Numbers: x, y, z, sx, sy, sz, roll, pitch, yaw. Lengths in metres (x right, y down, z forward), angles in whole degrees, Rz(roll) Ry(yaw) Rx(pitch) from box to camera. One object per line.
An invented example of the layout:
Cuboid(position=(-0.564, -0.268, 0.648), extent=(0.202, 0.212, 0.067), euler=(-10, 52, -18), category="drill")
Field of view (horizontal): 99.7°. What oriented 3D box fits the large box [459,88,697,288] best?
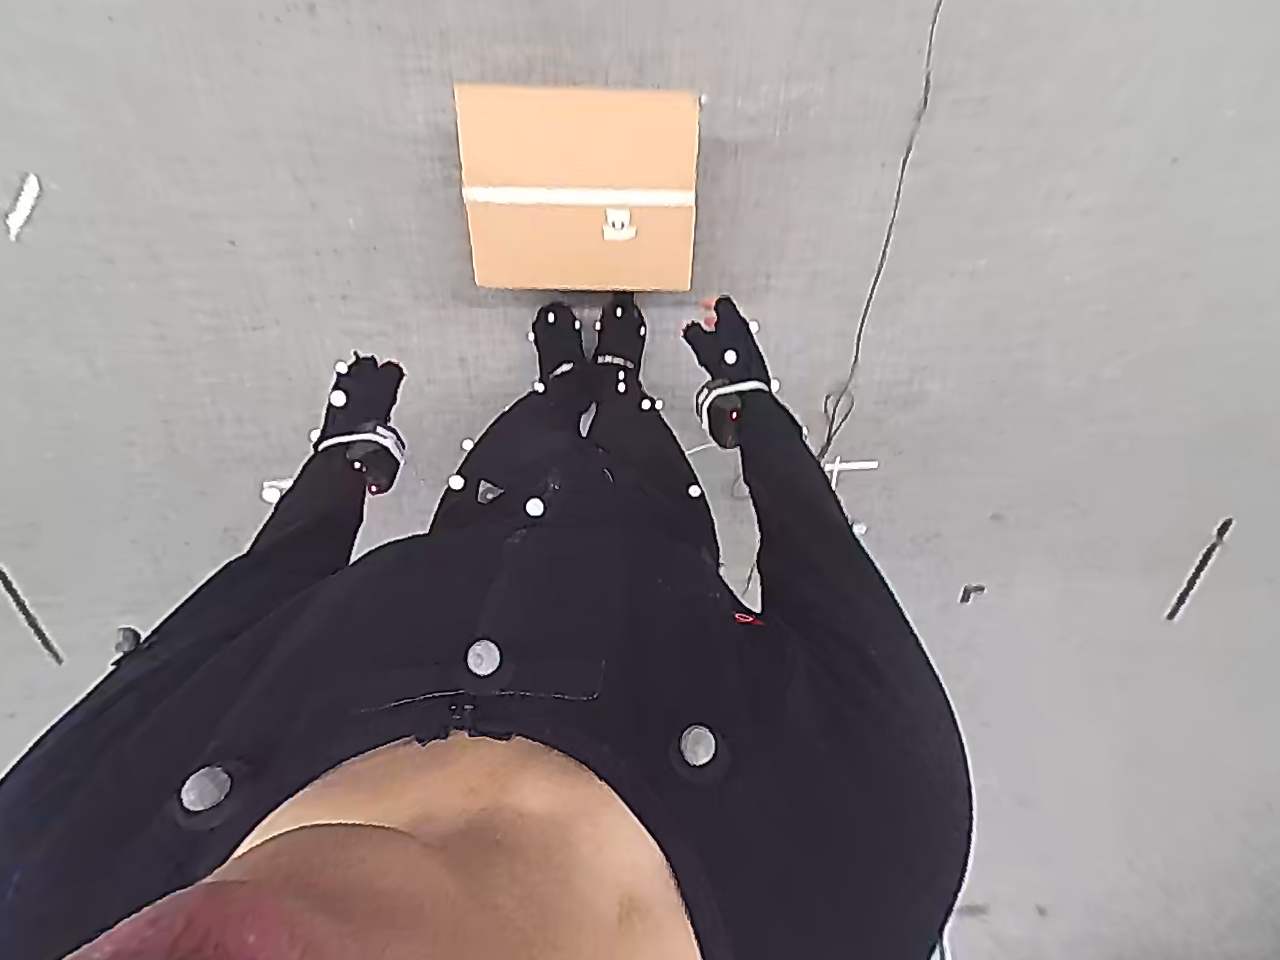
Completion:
Cuboid(position=(-0.112, -0.572, 1.097), extent=(0.408, 0.320, 0.320), euler=(-1, 116, -3), category="large box")
